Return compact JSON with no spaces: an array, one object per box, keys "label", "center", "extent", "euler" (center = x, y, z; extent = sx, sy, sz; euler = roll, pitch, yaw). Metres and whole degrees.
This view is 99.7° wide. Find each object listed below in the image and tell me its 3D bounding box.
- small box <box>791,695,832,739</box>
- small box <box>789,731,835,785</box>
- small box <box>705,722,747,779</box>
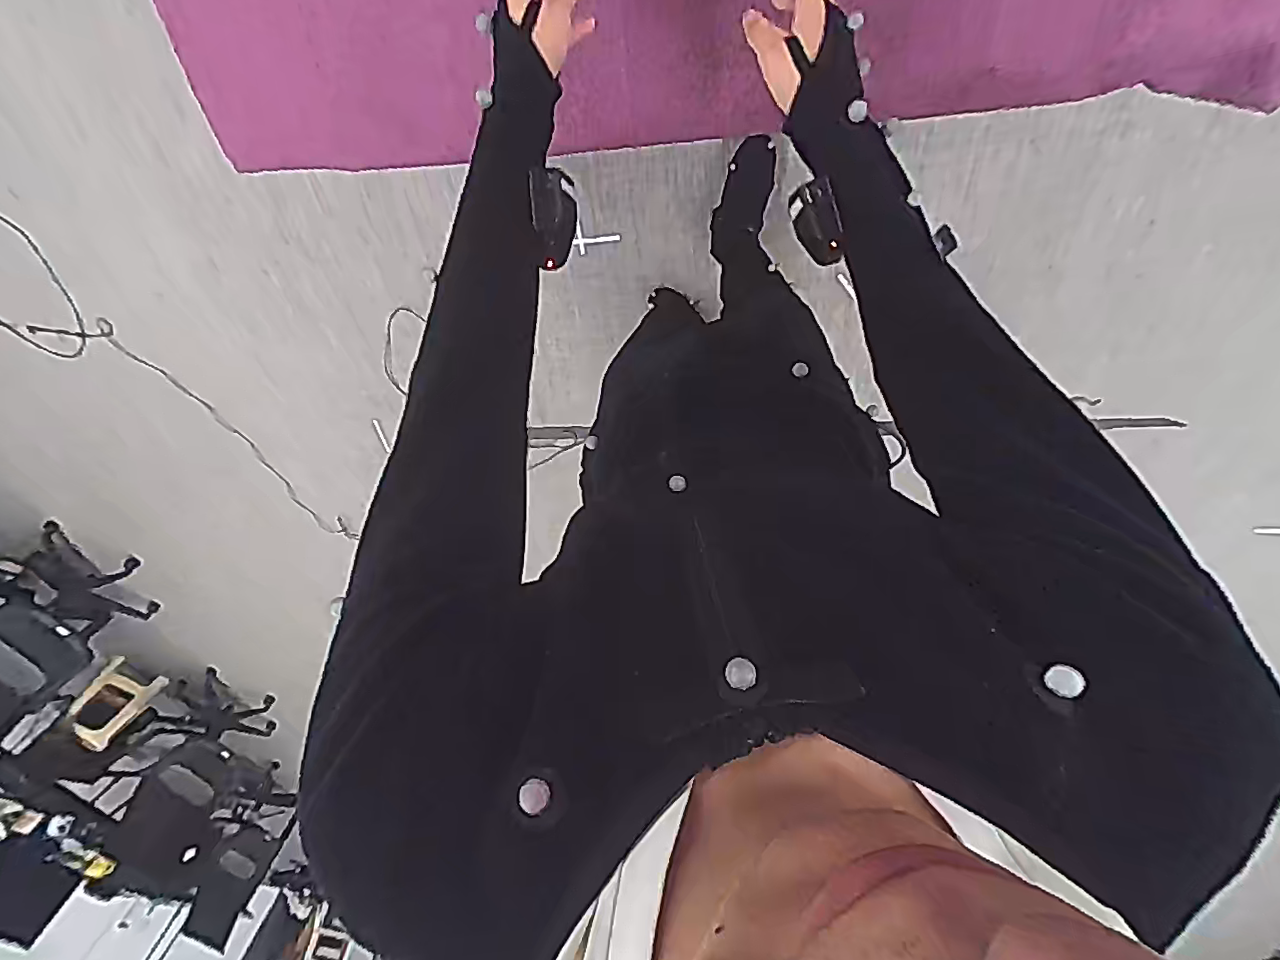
[{"label":"small box","center":[0.793,1.124,2.505],"extent":[0.168,0.176,0.179],"euler":[-4,126,13]},{"label":"small box","center":[0.757,1.225,2.381],"extent":[0.179,0.176,0.168],"euler":[-5,126,14]},{"label":"small box","center":[0.390,1.223,2.450],"extent":[0.179,0.176,0.168],"euler":[4,127,9]}]
